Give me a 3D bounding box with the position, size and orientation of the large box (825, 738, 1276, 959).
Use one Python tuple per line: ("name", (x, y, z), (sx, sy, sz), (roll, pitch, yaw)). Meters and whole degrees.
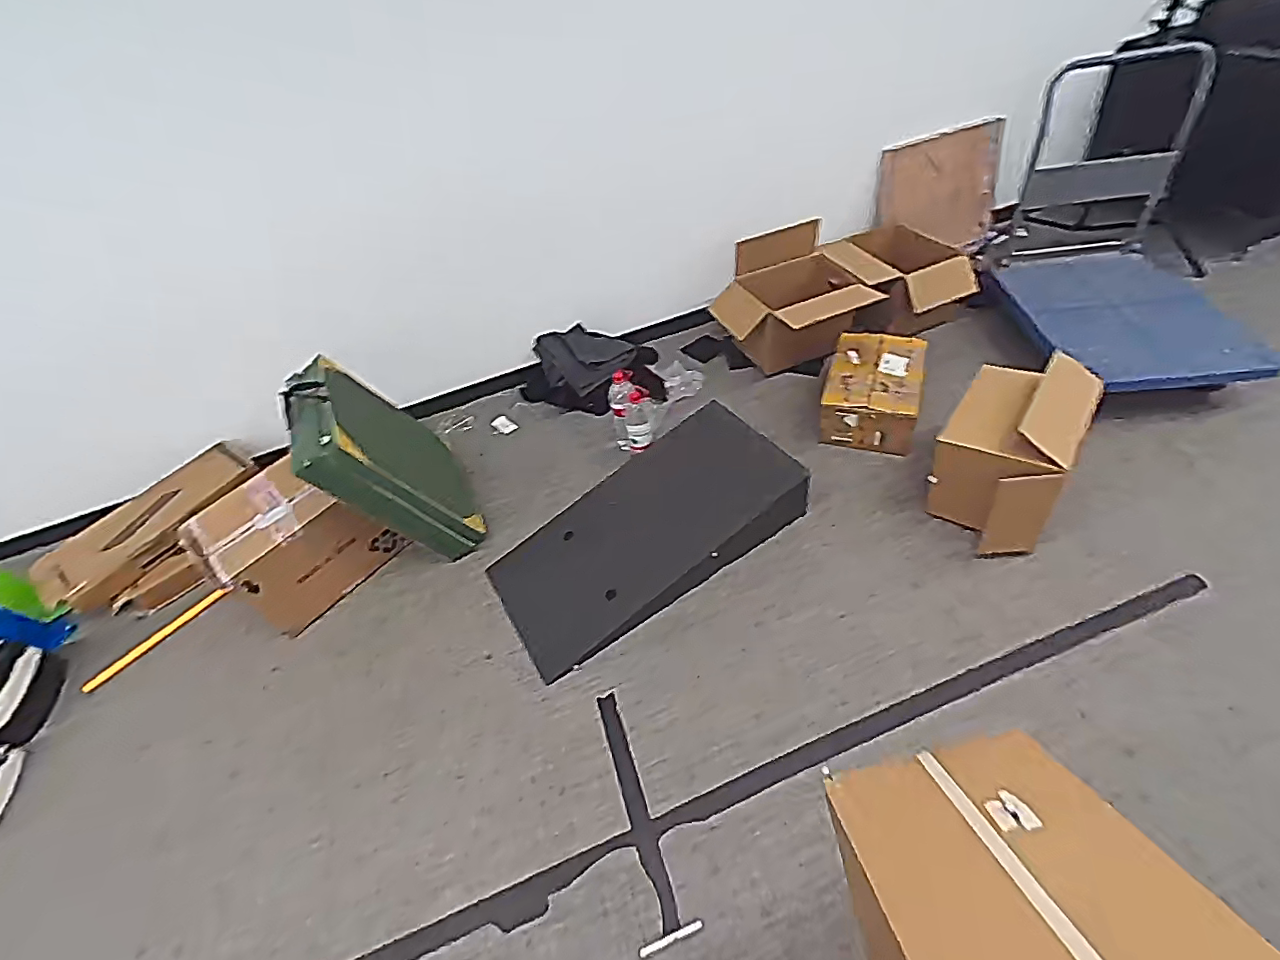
("large box", (0.472, 0.602, 0.652), (0.320, 0.320, 0.408), (-14, 8, 1))
